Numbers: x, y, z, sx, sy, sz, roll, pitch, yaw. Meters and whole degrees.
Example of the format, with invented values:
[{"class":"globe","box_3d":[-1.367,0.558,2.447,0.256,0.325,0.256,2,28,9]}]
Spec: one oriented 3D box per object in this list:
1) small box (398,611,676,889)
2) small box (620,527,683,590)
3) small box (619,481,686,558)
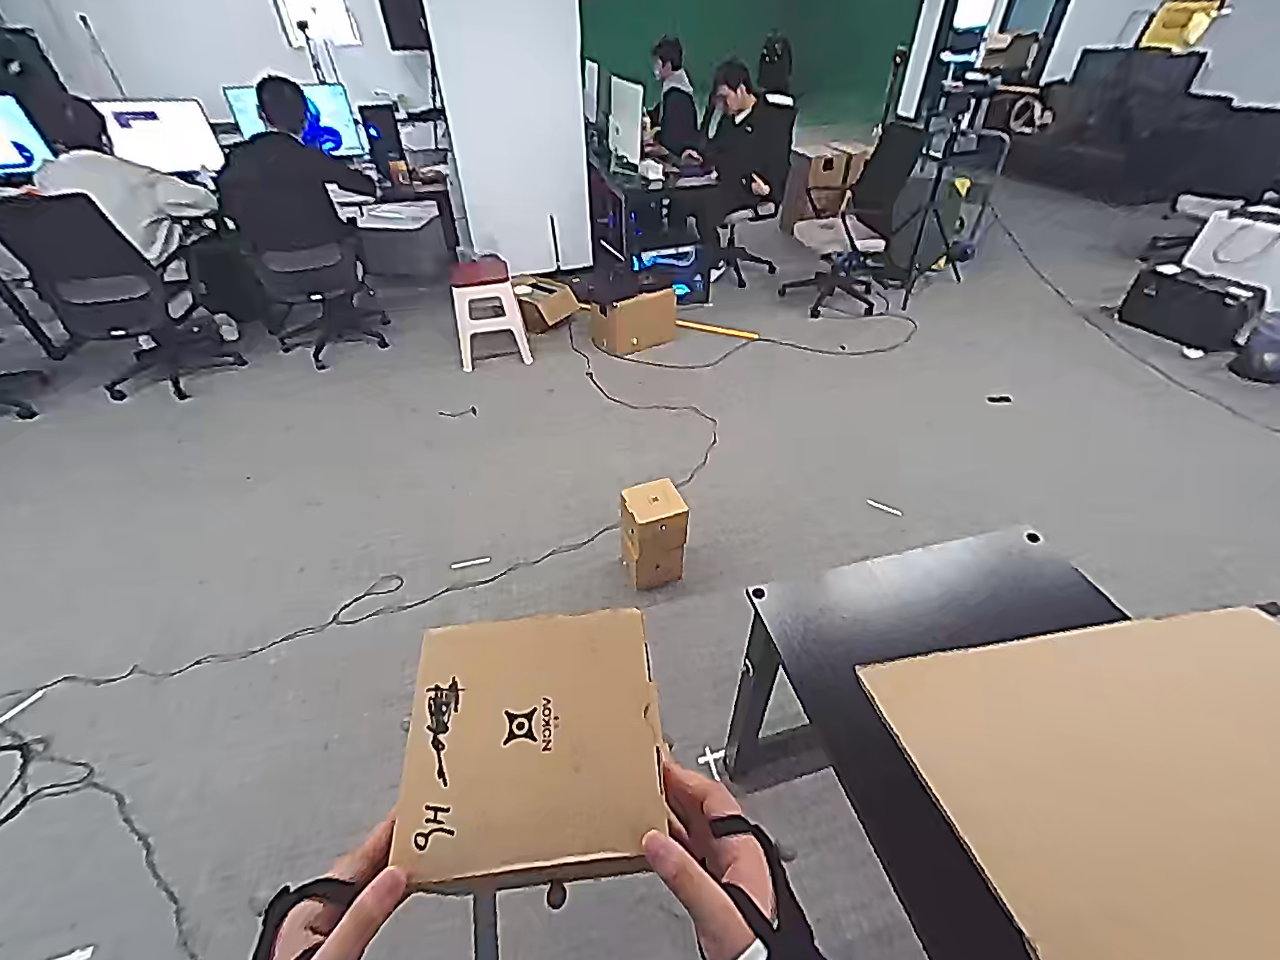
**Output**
[{"class":"small box","box_3d":[-0.072,0.226,0.450,0.179,0.176,0.168,-4,50,-5]},{"class":"small box","box_3d":[0.037,0.259,1.895,0.179,0.176,0.168,-14,43,-14]},{"class":"small box","box_3d":[0.041,0.134,1.790,0.179,0.176,0.168,-14,43,-16]}]
